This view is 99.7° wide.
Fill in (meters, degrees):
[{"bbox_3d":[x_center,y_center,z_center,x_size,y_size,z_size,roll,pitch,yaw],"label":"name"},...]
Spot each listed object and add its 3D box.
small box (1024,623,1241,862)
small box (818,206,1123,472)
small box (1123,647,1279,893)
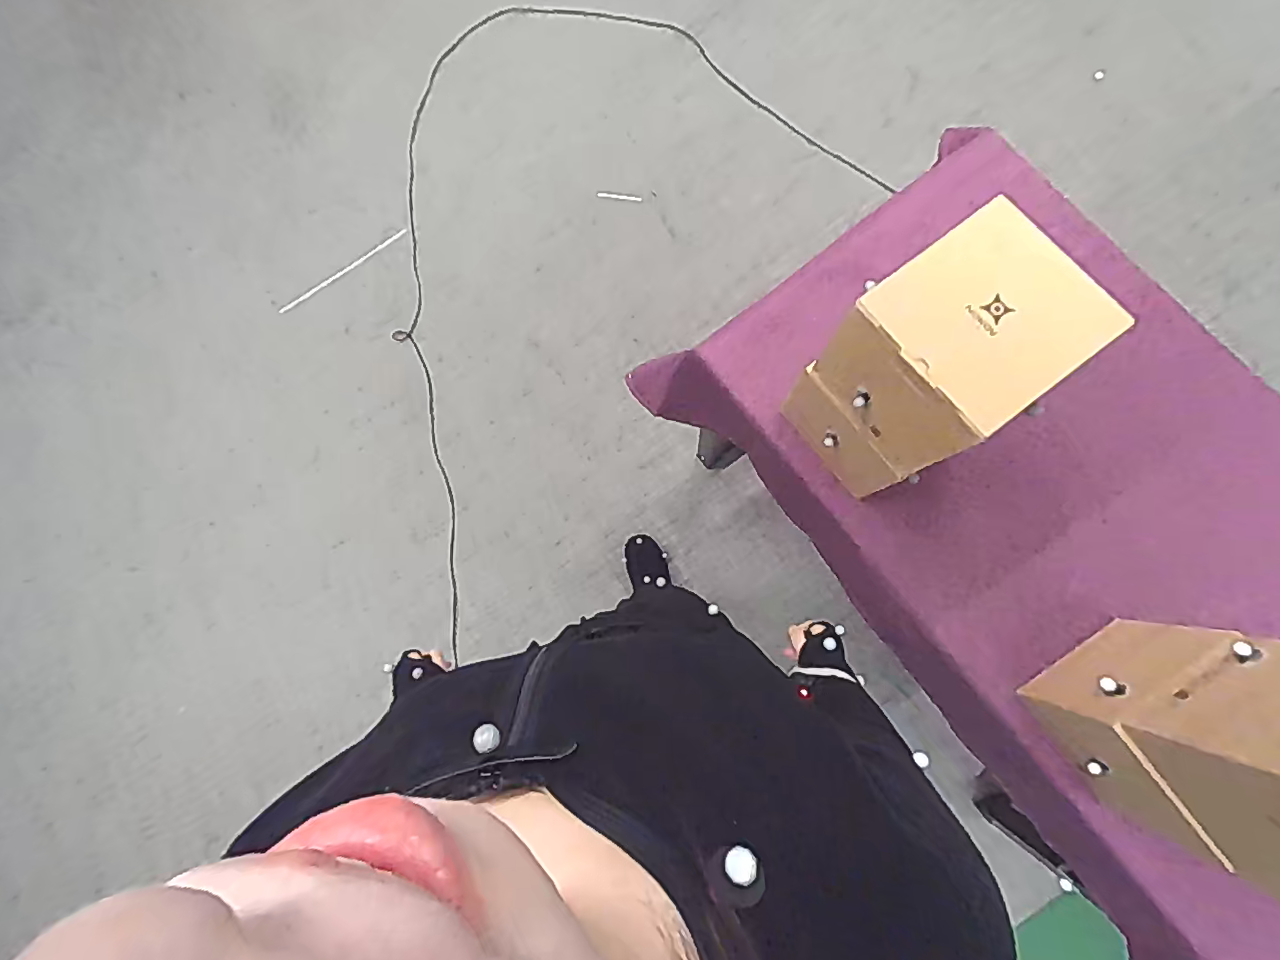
[{"bbox_3d":[0.607,0.290,0.642,0.179,0.176,0.168,-34,80,-3],"label":"small box"},{"bbox_3d":[0.318,-0.131,0.566,0.179,0.176,0.168,-37,80,-3],"label":"small box"},{"bbox_3d":[0.604,0.266,0.479,0.168,0.176,0.179,-33,81,-2],"label":"small box"}]
